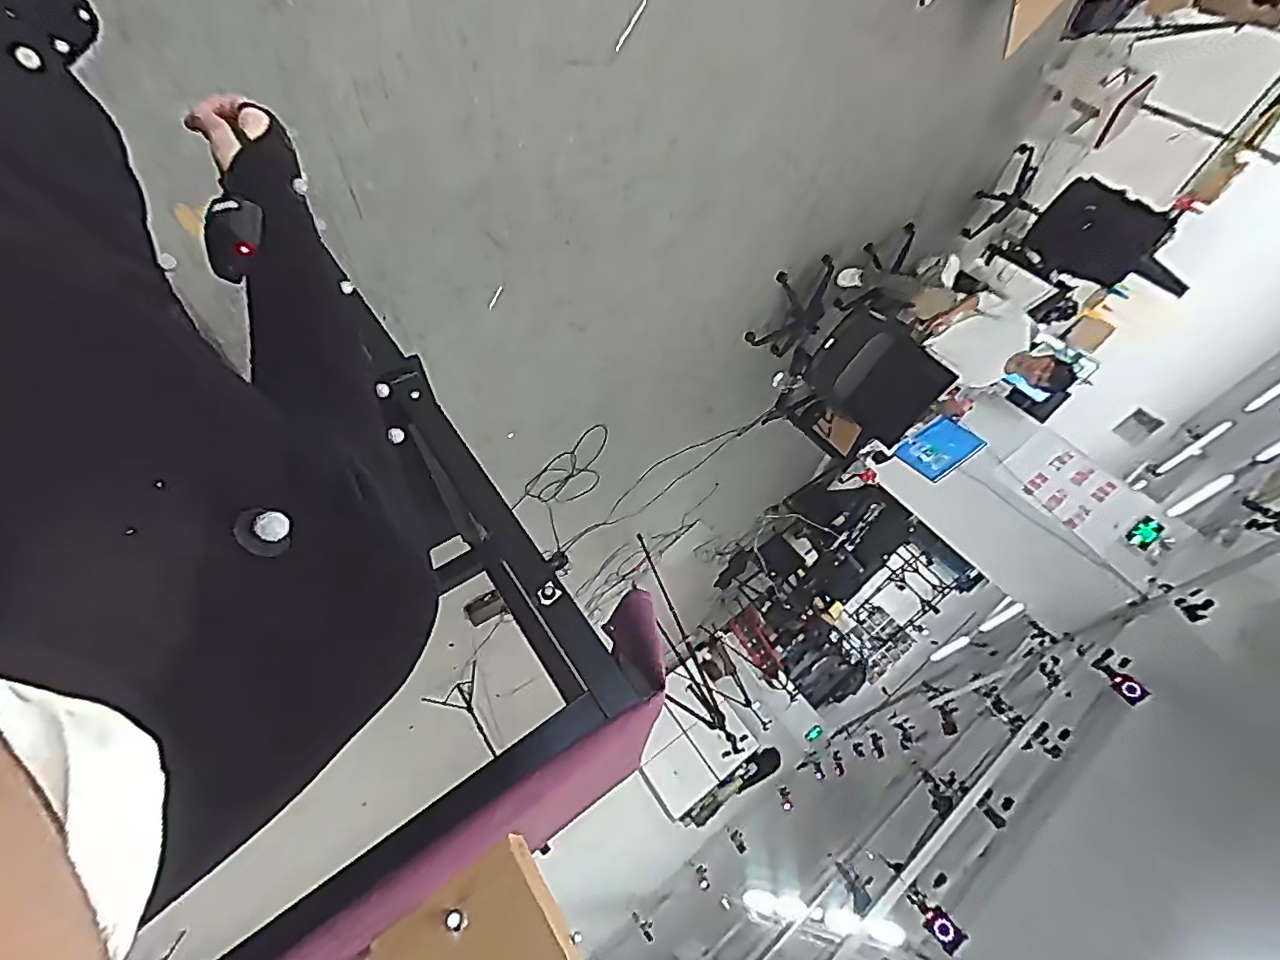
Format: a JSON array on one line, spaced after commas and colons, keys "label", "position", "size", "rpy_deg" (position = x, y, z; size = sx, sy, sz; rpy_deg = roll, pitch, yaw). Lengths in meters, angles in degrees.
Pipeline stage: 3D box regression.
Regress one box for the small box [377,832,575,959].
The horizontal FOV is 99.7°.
[{"label": "small box", "position": [-0.198, 0.574, 0.664], "size": [0.179, 0.176, 0.168], "rpy_deg": [-29, 152, -21]}]
